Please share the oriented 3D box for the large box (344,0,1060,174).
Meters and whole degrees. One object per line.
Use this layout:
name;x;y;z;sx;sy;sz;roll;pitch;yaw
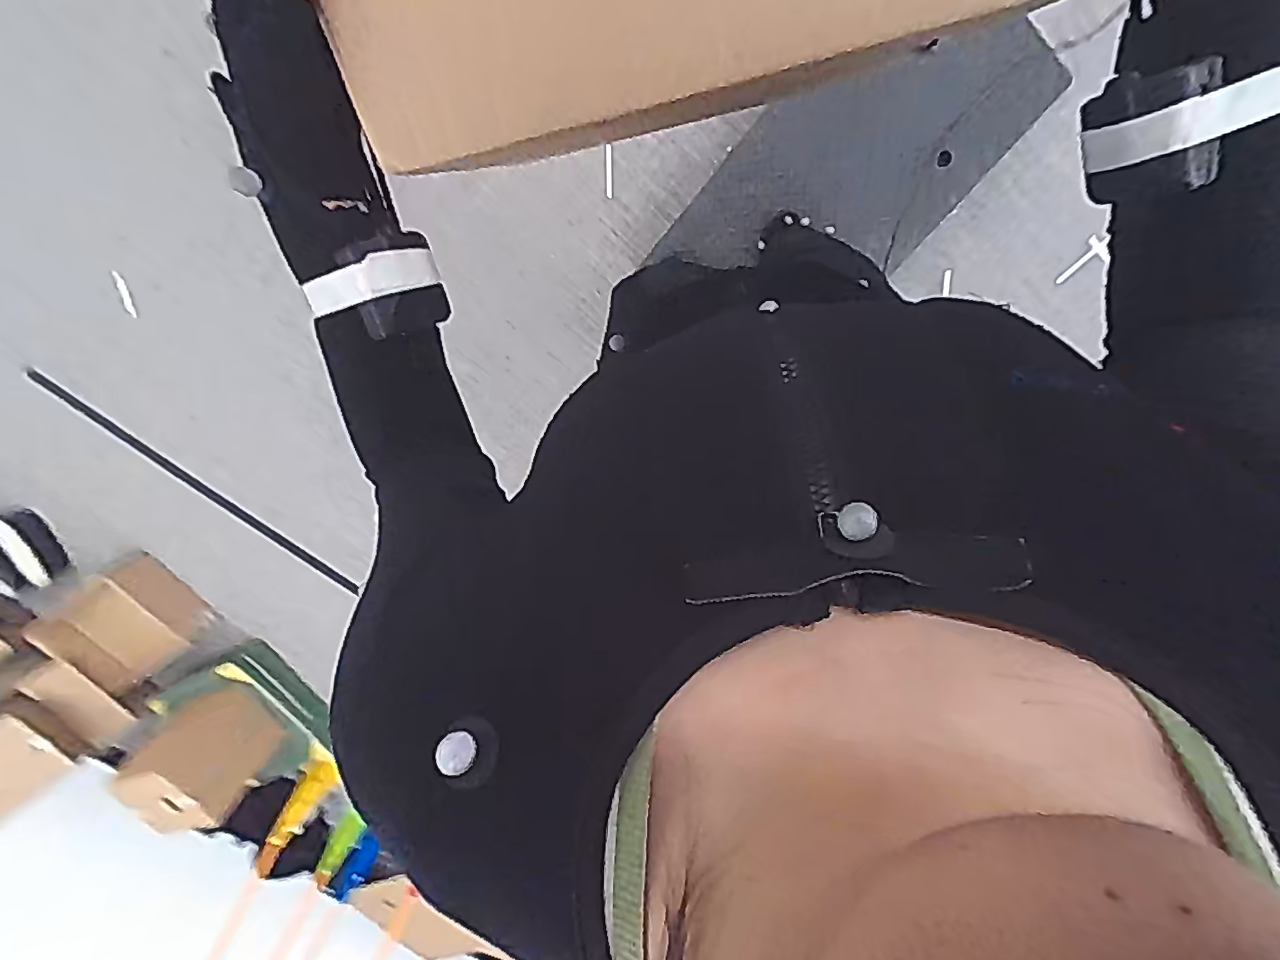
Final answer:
large box;0.025;-0.431;0.362;0.408;0.320;0.320;-8;120;9
